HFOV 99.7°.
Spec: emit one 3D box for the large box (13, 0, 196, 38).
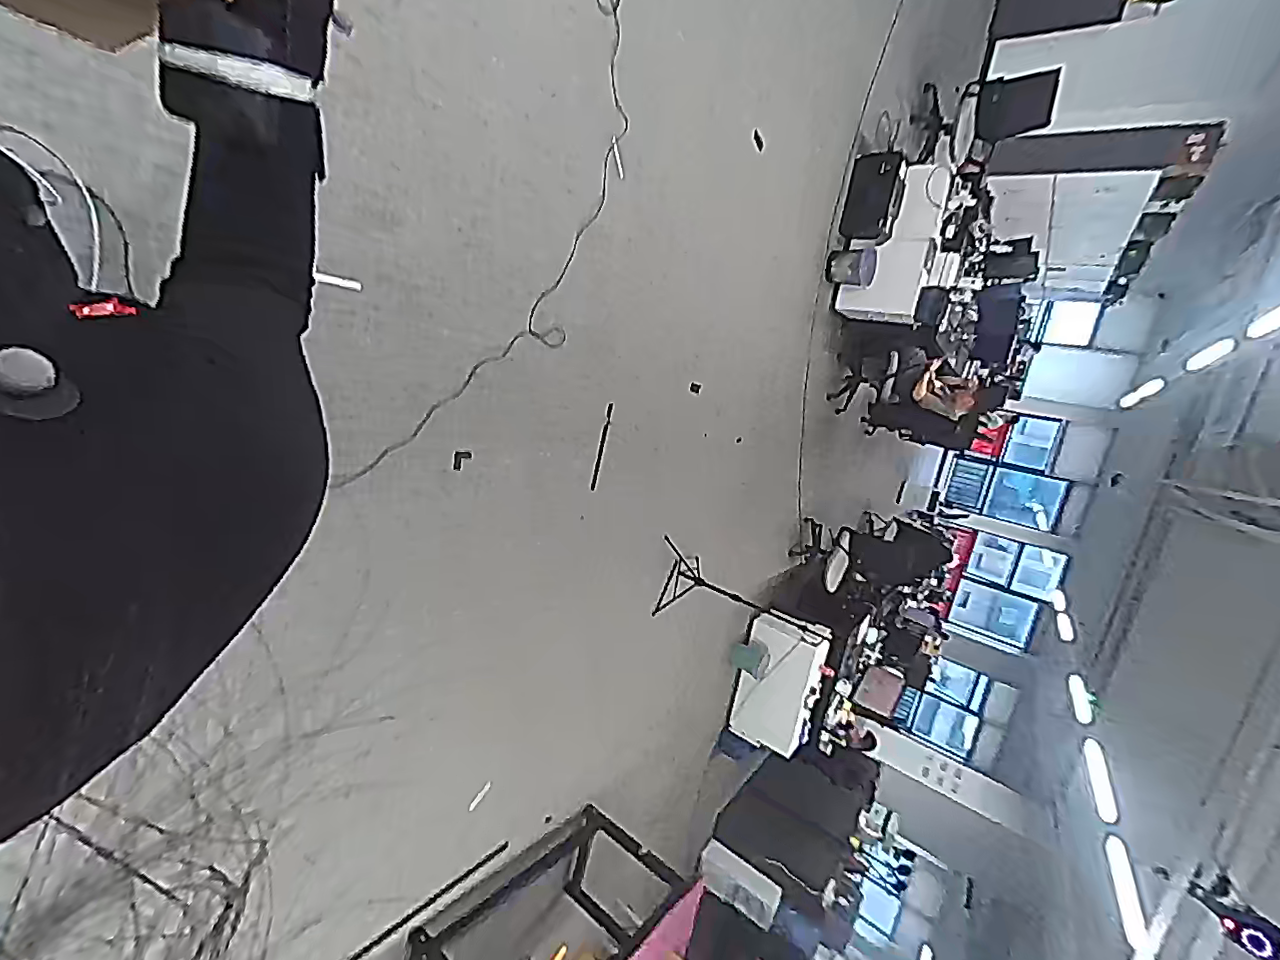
[{"bbox_3d":[-0.434,-0.462,0.200,0.408,0.320,0.320,-5,116,-53],"label":"large box"}]
